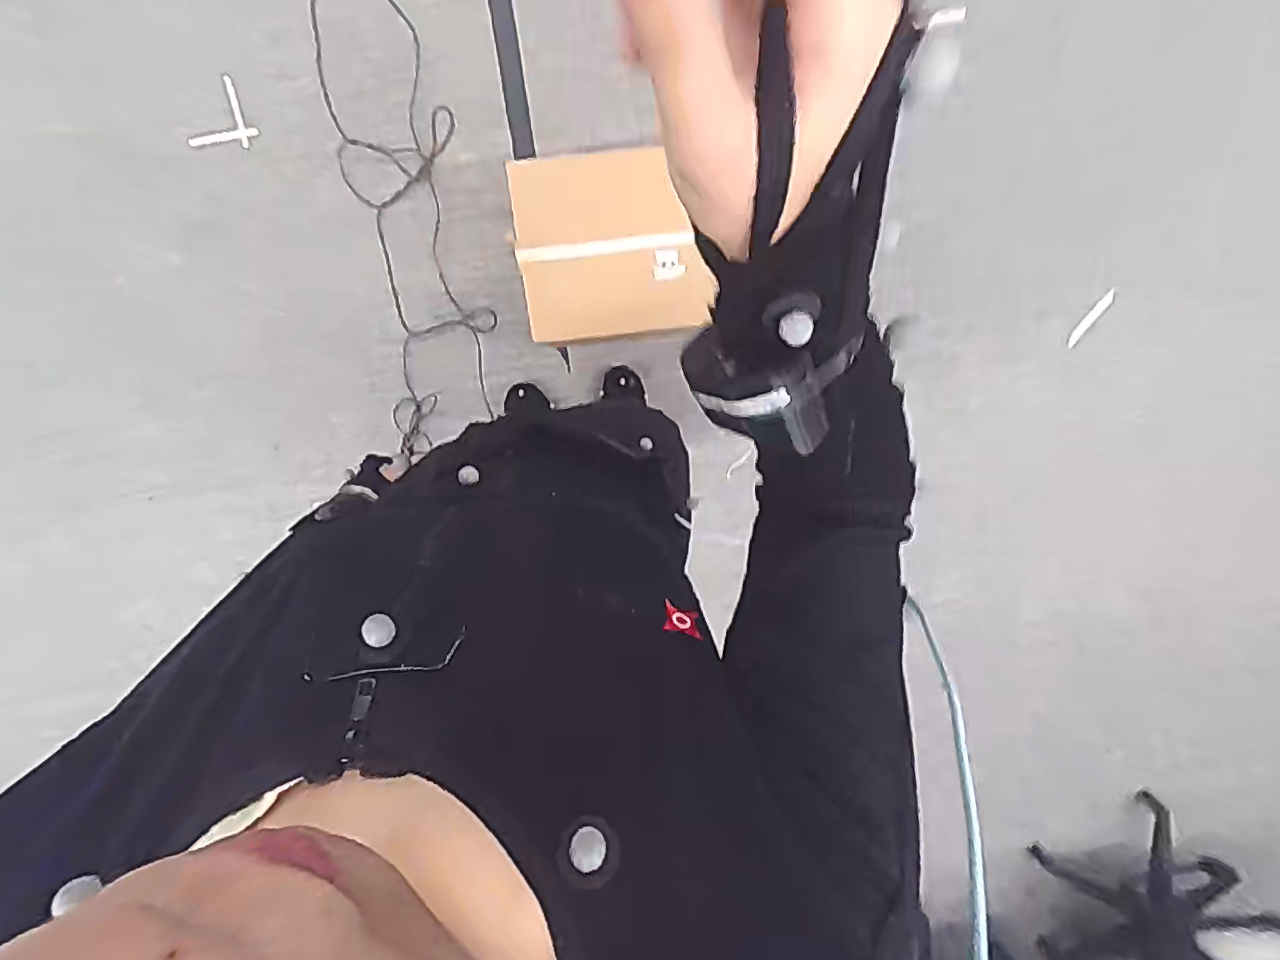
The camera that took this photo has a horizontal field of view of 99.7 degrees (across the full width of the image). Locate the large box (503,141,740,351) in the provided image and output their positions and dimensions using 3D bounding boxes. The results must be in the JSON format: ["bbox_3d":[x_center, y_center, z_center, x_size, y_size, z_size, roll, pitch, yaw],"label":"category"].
[{"bbox_3d":[-0.036,-0.453,1.121,0.408,0.320,0.320,-7,103,-2],"label":"large box"}]
